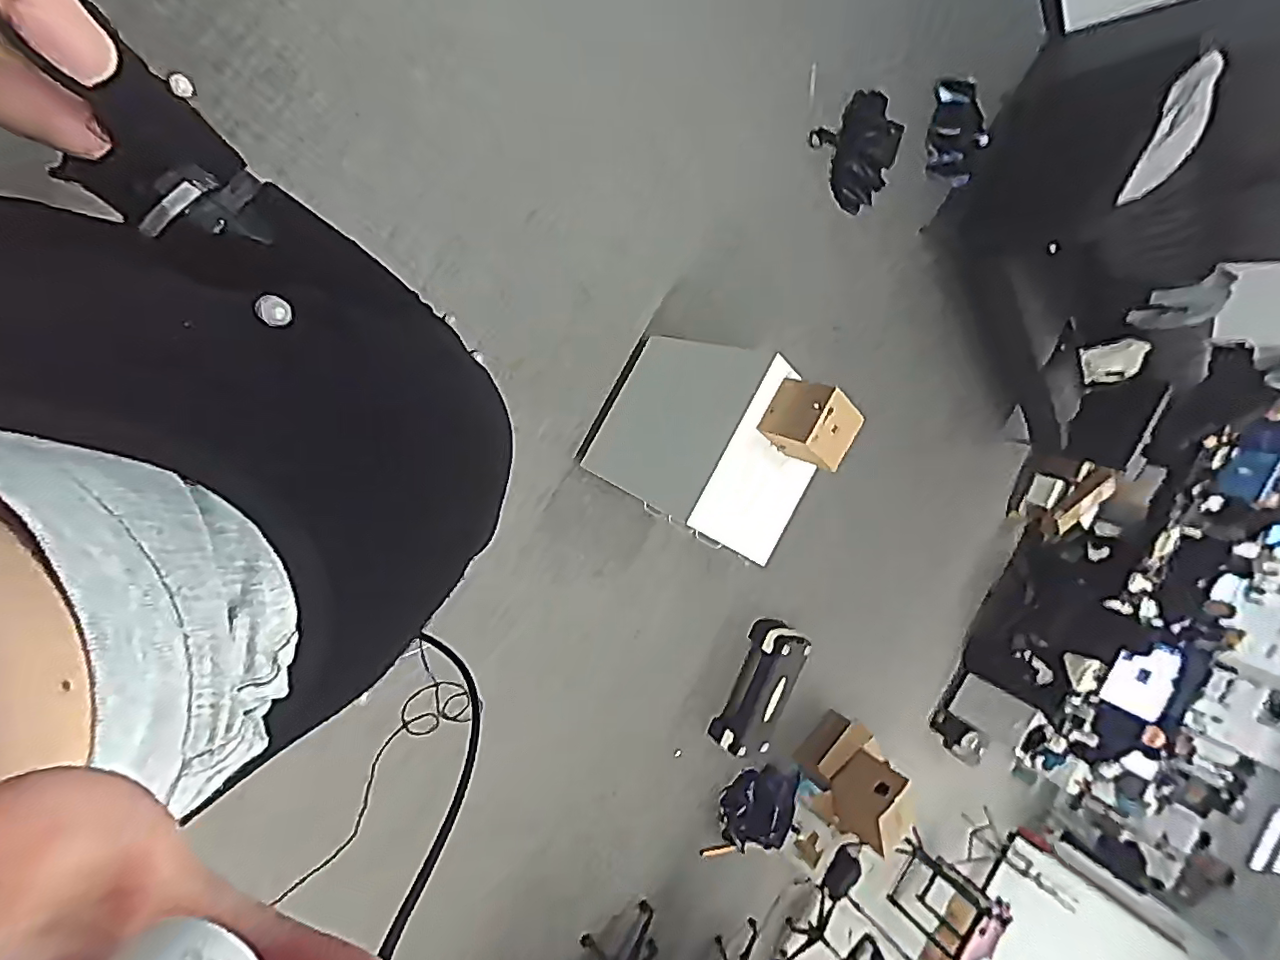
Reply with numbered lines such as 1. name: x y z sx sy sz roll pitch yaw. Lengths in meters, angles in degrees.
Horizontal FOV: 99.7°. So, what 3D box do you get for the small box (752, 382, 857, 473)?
1. small box: 0.435 -0.144 1.436 0.179 0.176 0.168 31 87 -42
